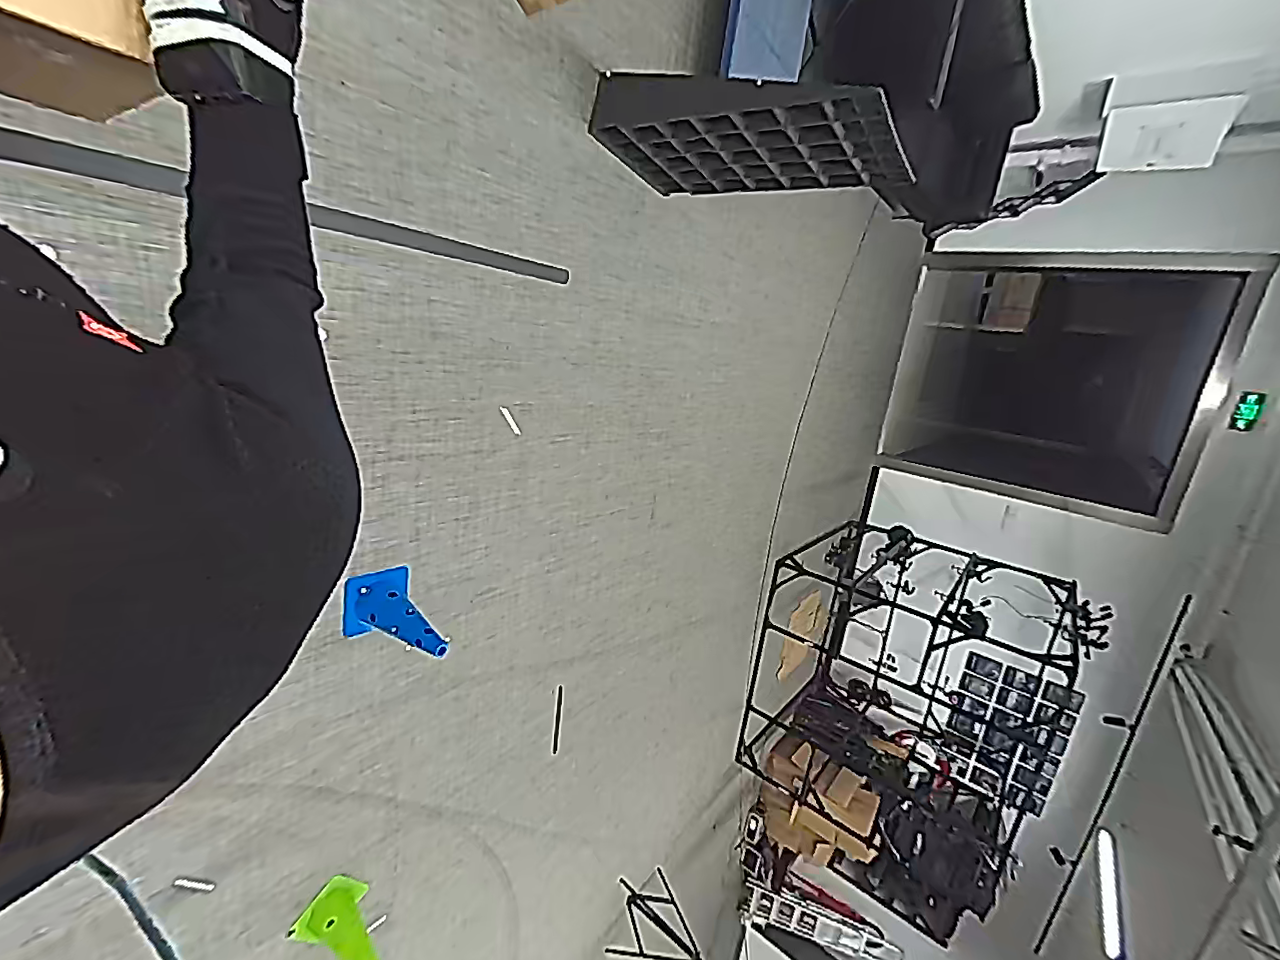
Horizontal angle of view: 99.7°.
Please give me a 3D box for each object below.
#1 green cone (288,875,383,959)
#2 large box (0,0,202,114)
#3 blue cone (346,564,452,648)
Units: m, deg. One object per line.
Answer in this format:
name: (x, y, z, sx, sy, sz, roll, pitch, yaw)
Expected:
green cone: (-0.922, 1.505, 1.746, 0.202, 0.368, 0.200, -52, 141, -29)
large box: (-0.531, -0.447, 0.272, 0.408, 0.320, 0.320, -12, 116, -53)
blue cone: (-0.693, 0.407, 1.601, 0.192, 0.380, 0.193, -7, 110, -54)
